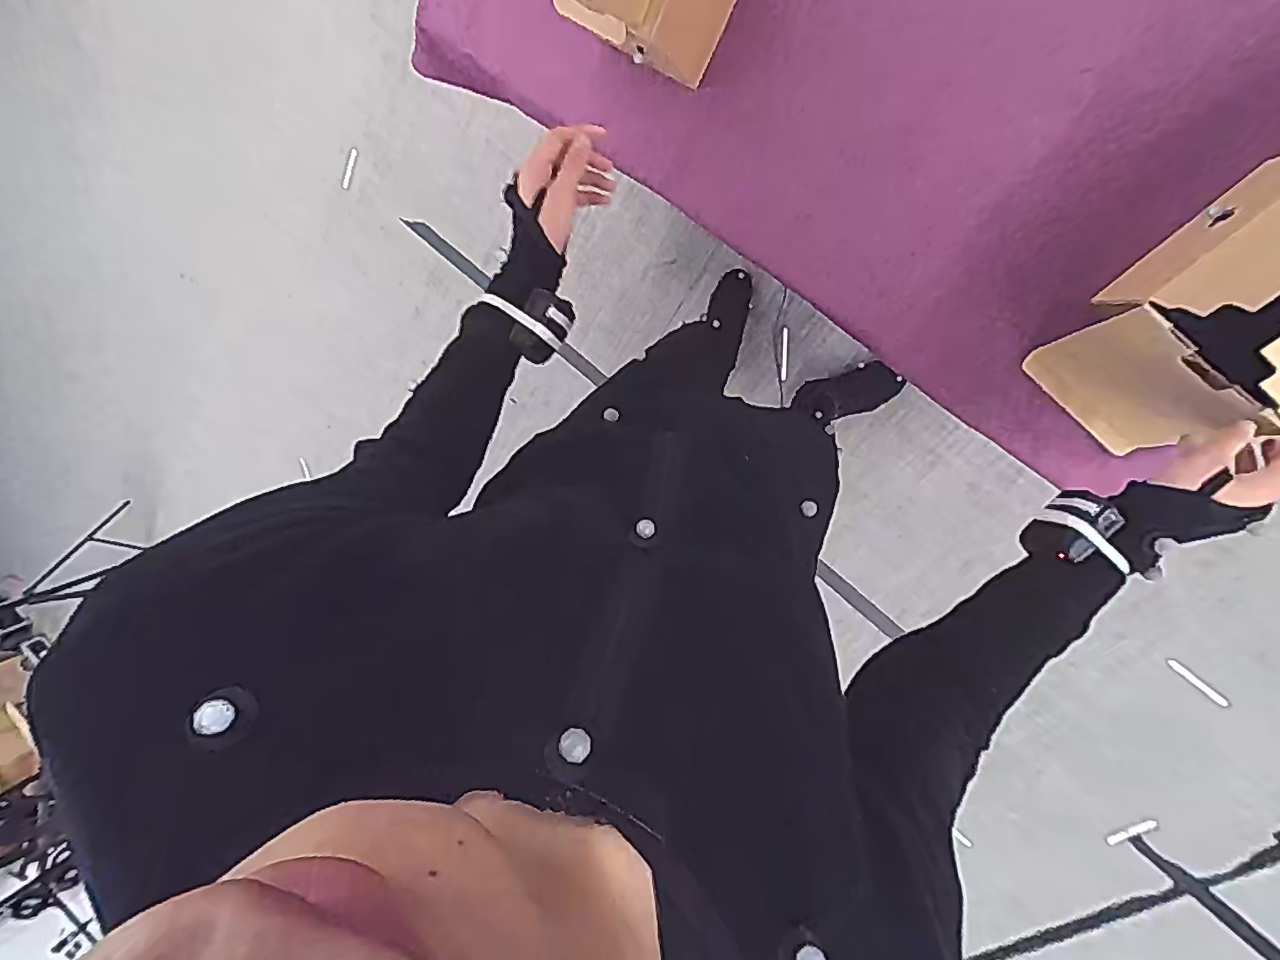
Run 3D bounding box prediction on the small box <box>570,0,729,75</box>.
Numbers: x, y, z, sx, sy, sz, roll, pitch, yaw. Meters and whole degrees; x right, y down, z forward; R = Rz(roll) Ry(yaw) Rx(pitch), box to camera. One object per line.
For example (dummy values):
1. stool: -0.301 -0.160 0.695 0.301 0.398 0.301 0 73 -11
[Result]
1. small box: 0.013 -0.608 0.612 0.168 0.176 0.179 36 119 9
